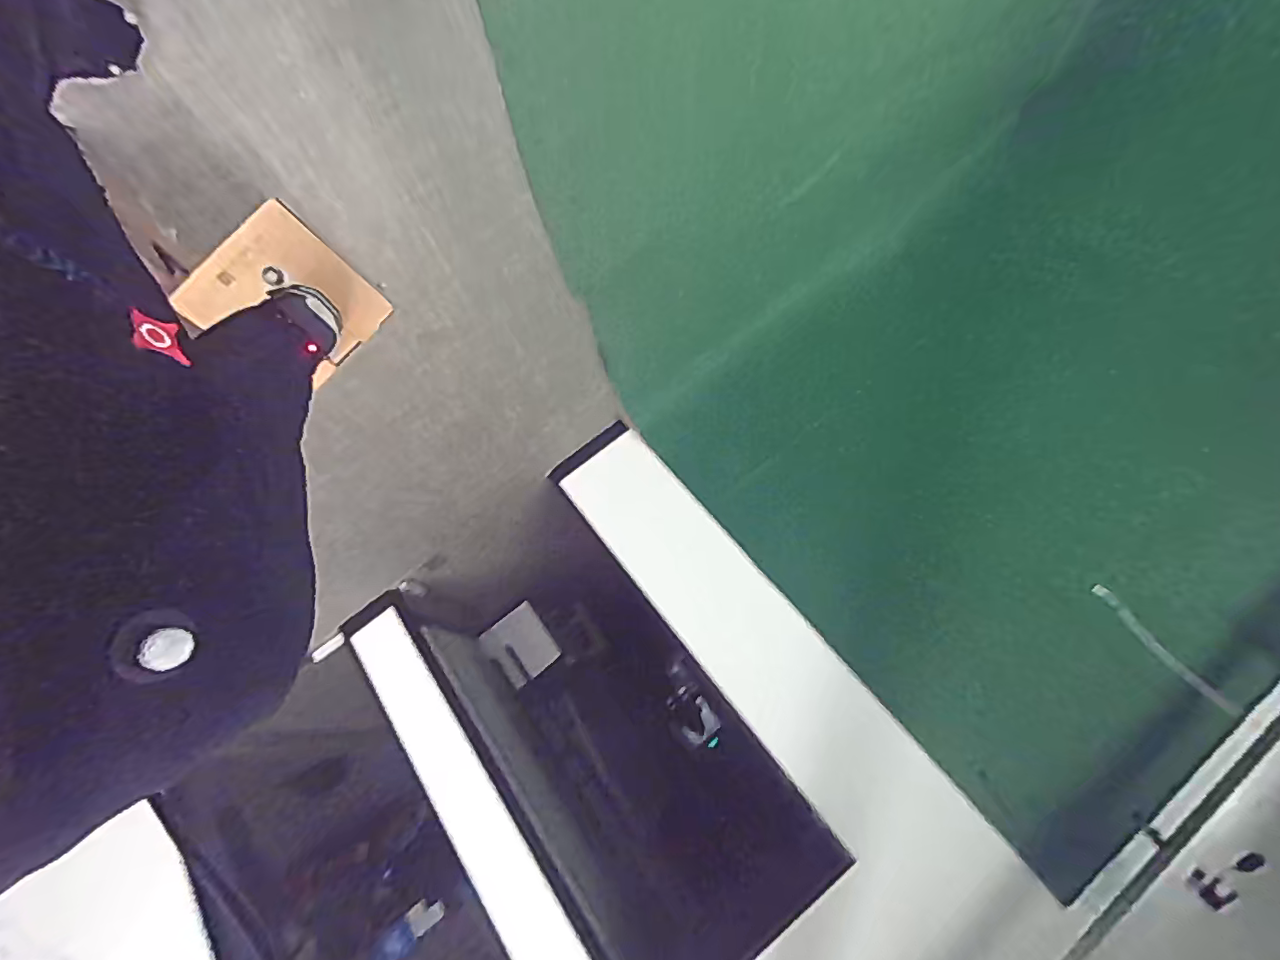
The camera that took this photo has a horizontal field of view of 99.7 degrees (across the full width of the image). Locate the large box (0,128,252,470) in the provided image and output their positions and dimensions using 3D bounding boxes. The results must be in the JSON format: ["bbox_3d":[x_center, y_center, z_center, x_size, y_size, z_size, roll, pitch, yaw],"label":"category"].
[{"bbox_3d":[-1.001,-0.297,0.927,0.408,0.320,0.320,-36,157,-8],"label":"large box"}]
